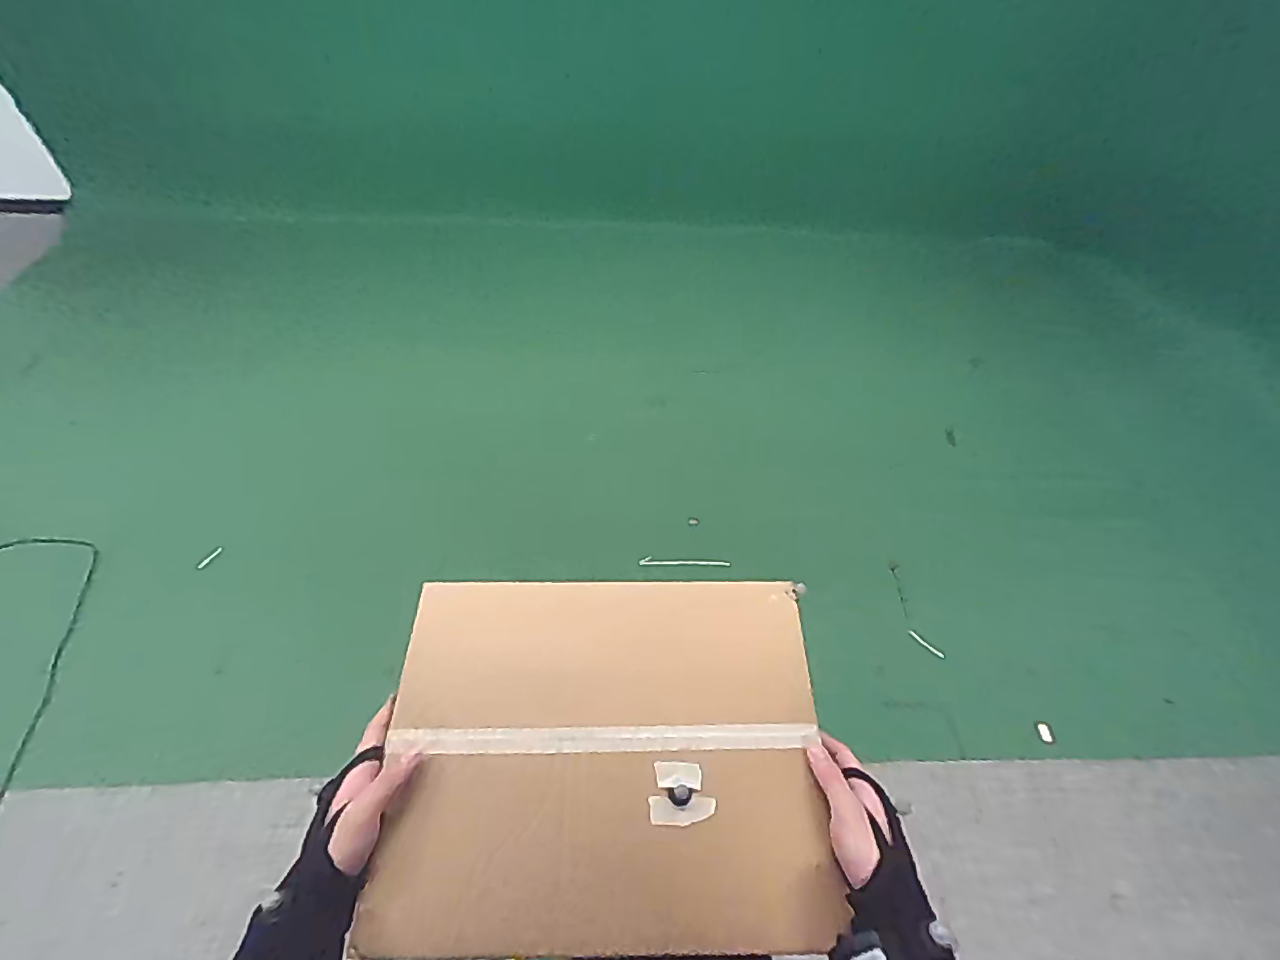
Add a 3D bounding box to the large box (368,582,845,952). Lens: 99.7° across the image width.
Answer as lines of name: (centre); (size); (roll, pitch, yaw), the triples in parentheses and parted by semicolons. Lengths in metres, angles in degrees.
large box: (-0.034, 0.328, 0.648); (0.408, 0.320, 0.320); (0, 58, -2)
